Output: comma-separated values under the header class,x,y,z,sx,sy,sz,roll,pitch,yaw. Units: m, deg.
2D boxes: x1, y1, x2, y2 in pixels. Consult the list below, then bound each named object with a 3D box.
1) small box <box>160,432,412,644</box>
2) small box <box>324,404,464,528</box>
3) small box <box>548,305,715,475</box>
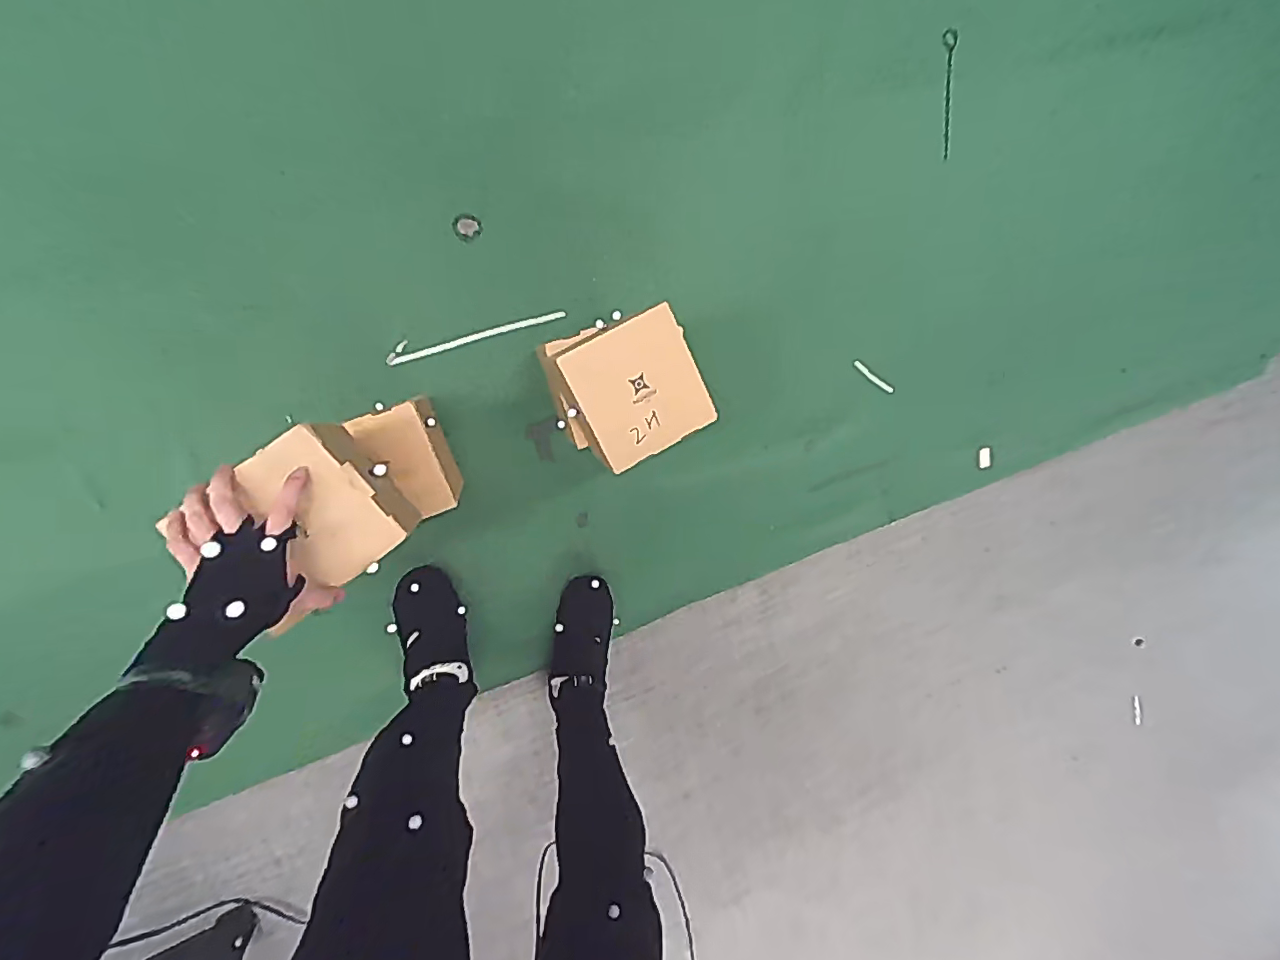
class,x,y,z,sx,sy,sz,roll,pitch,yaw
small box,-0.399,0.057,0.655,0.179,0.176,0.168,-40,103,-10
small box,-0.404,-0.017,0.891,0.168,0.176,0.179,-21,104,-9
small box,-0.022,-0.131,0.789,0.168,0.176,0.179,-29,107,-6
